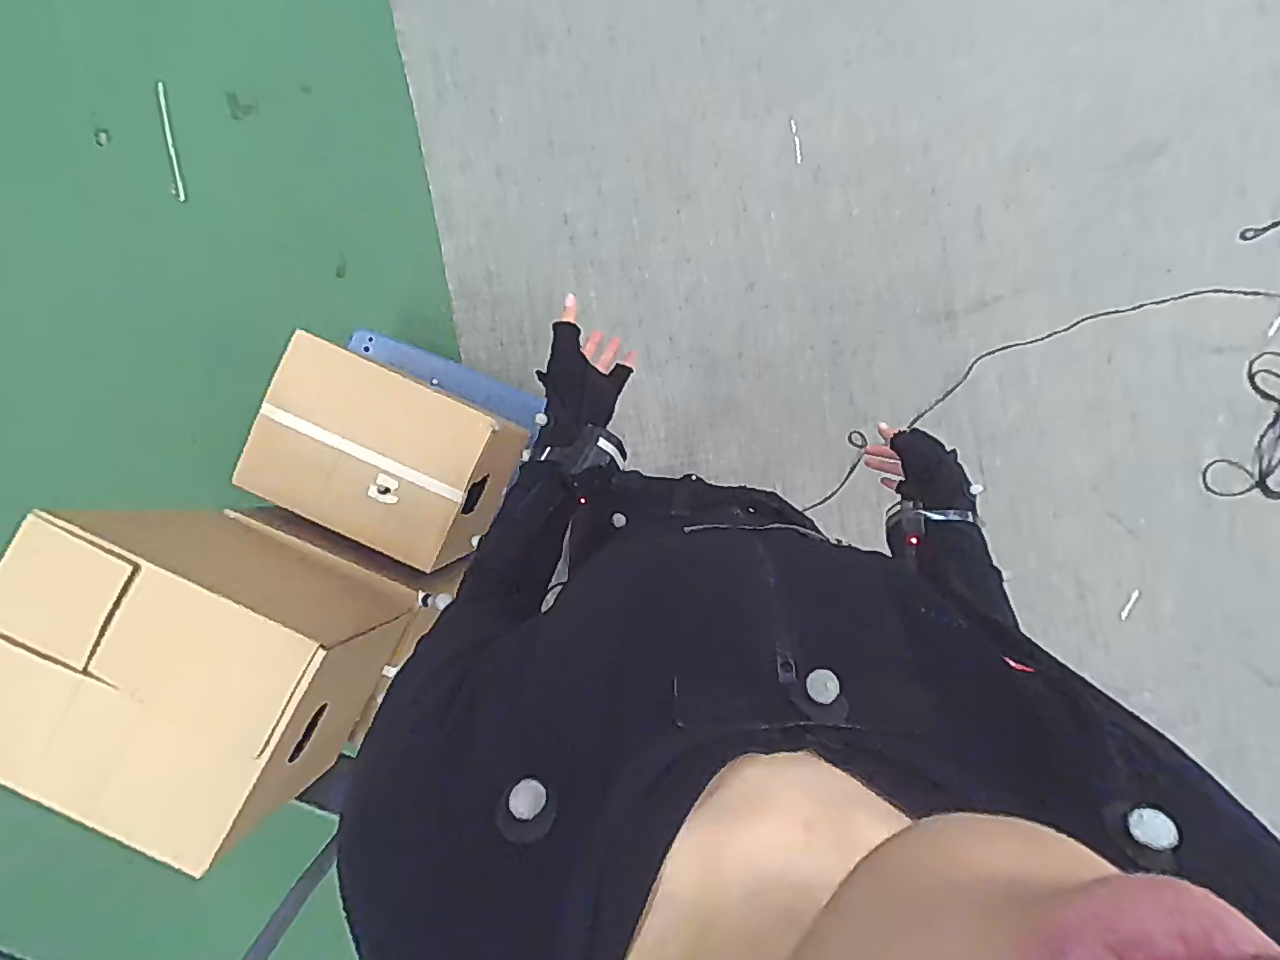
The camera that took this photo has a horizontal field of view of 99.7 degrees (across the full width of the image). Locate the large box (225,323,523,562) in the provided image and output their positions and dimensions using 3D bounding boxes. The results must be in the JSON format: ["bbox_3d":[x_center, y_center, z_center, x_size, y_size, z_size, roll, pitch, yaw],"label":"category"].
[{"bbox_3d":[-0.513,-0.071,1.126,0.408,0.320,0.320,25,91,-2],"label":"large box"}]
